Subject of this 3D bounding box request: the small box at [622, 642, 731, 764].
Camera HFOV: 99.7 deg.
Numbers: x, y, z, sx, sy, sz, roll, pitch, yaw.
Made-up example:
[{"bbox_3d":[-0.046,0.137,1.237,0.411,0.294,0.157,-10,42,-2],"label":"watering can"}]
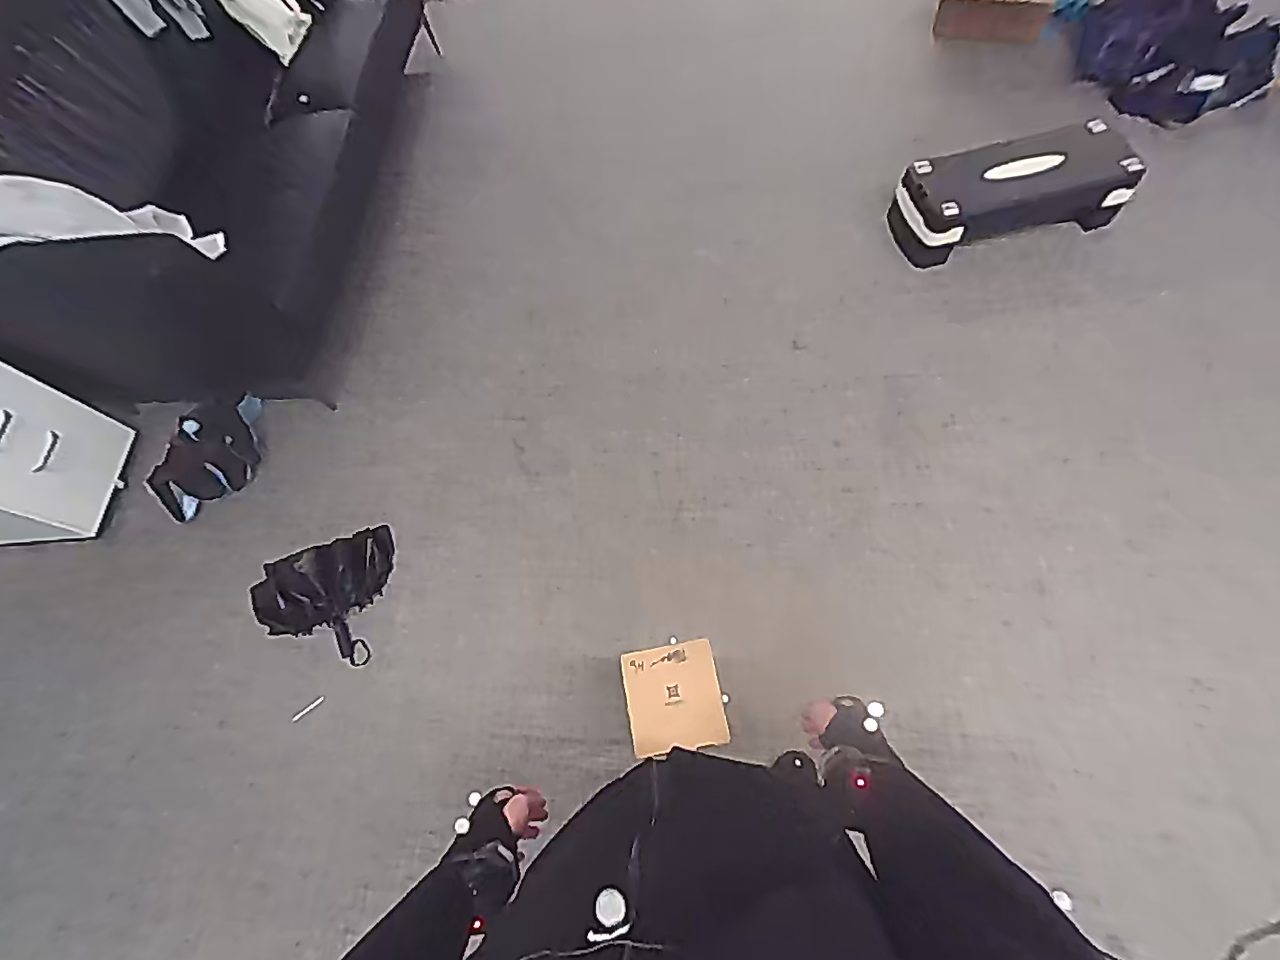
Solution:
[{"bbox_3d":[0.071,0.411,1.006,0.168,0.176,0.179,-12,66,3],"label":"small box"}]
